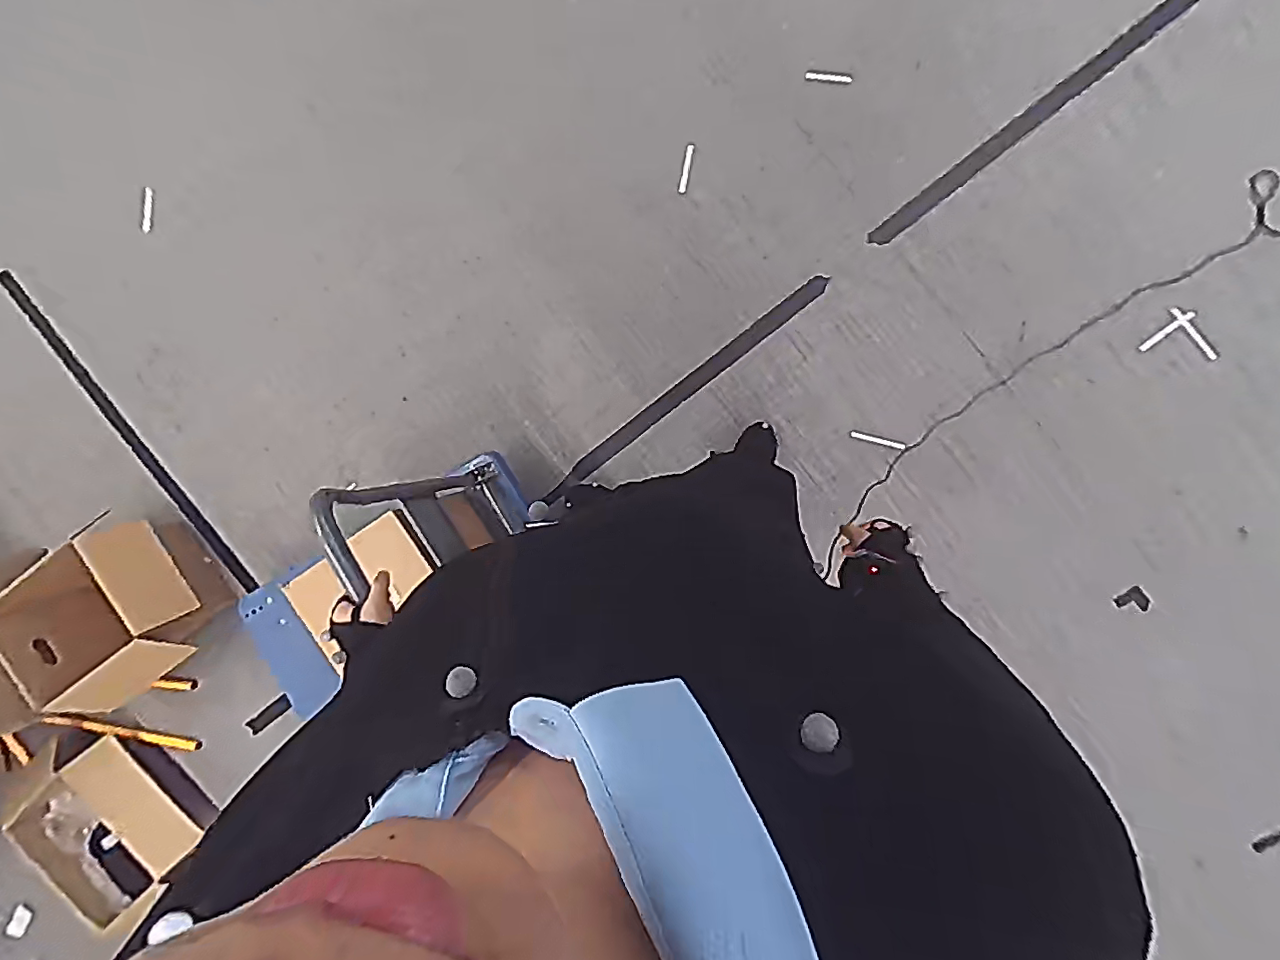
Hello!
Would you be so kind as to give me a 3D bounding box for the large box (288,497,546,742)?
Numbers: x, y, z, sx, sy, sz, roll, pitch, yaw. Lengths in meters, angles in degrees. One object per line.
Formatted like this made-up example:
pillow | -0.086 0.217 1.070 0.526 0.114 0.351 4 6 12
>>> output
large box | -0.487 0.297 1.259 0.320 0.320 0.408 -33 90 8
